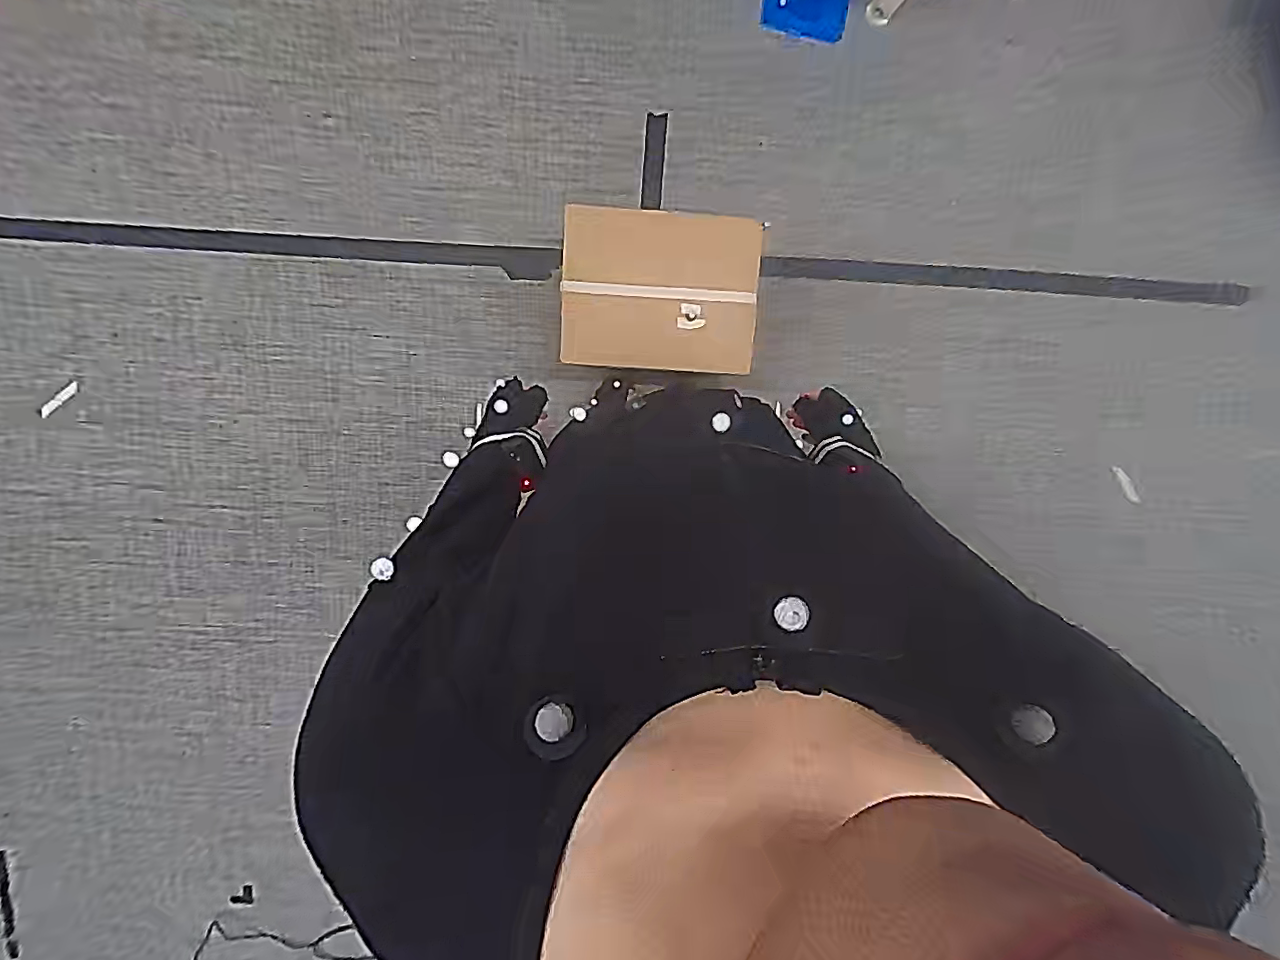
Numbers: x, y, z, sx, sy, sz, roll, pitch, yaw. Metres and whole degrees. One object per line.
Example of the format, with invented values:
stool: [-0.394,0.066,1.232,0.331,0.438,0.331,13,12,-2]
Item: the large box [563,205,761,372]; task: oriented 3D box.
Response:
large box: [0.034,-0.418,1.259,0.408,0.320,0.320,3,101,-4]
